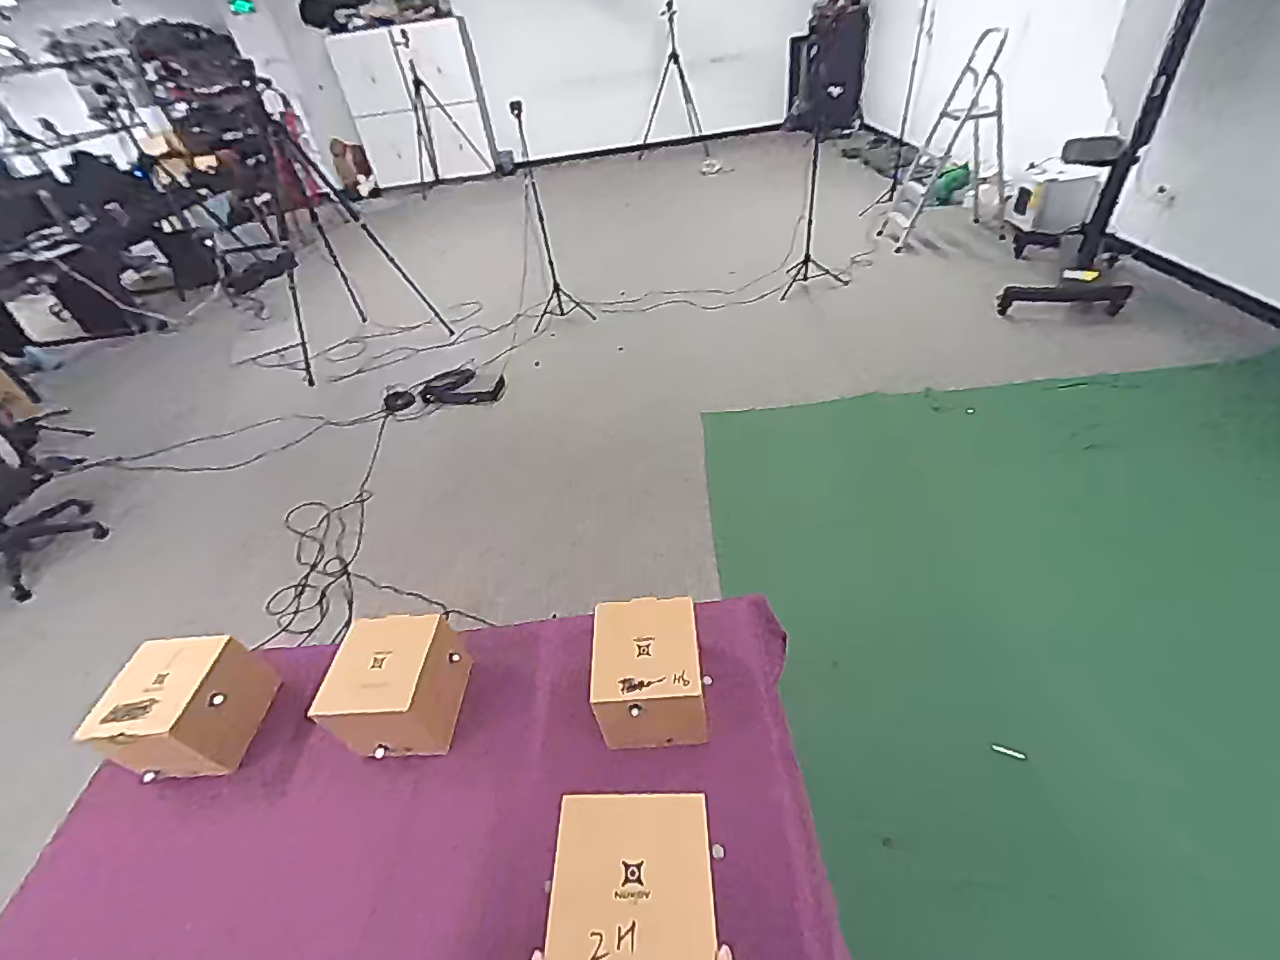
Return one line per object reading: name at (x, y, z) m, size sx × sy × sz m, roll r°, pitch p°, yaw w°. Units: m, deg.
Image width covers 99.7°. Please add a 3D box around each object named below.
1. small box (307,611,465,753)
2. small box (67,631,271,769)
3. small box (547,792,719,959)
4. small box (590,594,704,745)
small box at (-0.419, 0.347, 0.930) m, size 0.168 × 0.176 × 0.179 m, roll -4°, pitch 43°, yaw 5°
small box at (-0.794, 0.387, 0.940) m, size 0.168 × 0.176 × 0.179 m, roll -4°, pitch 43°, yaw 3°
small box at (-0.003, 0.477, 0.602) m, size 0.168 × 0.176 × 0.179 m, roll -1°, pitch 38°, yaw 2°
small box at (0.016, 0.313, 0.896) m, size 0.168 × 0.176 × 0.179 m, roll -6°, pitch 42°, yaw 4°
